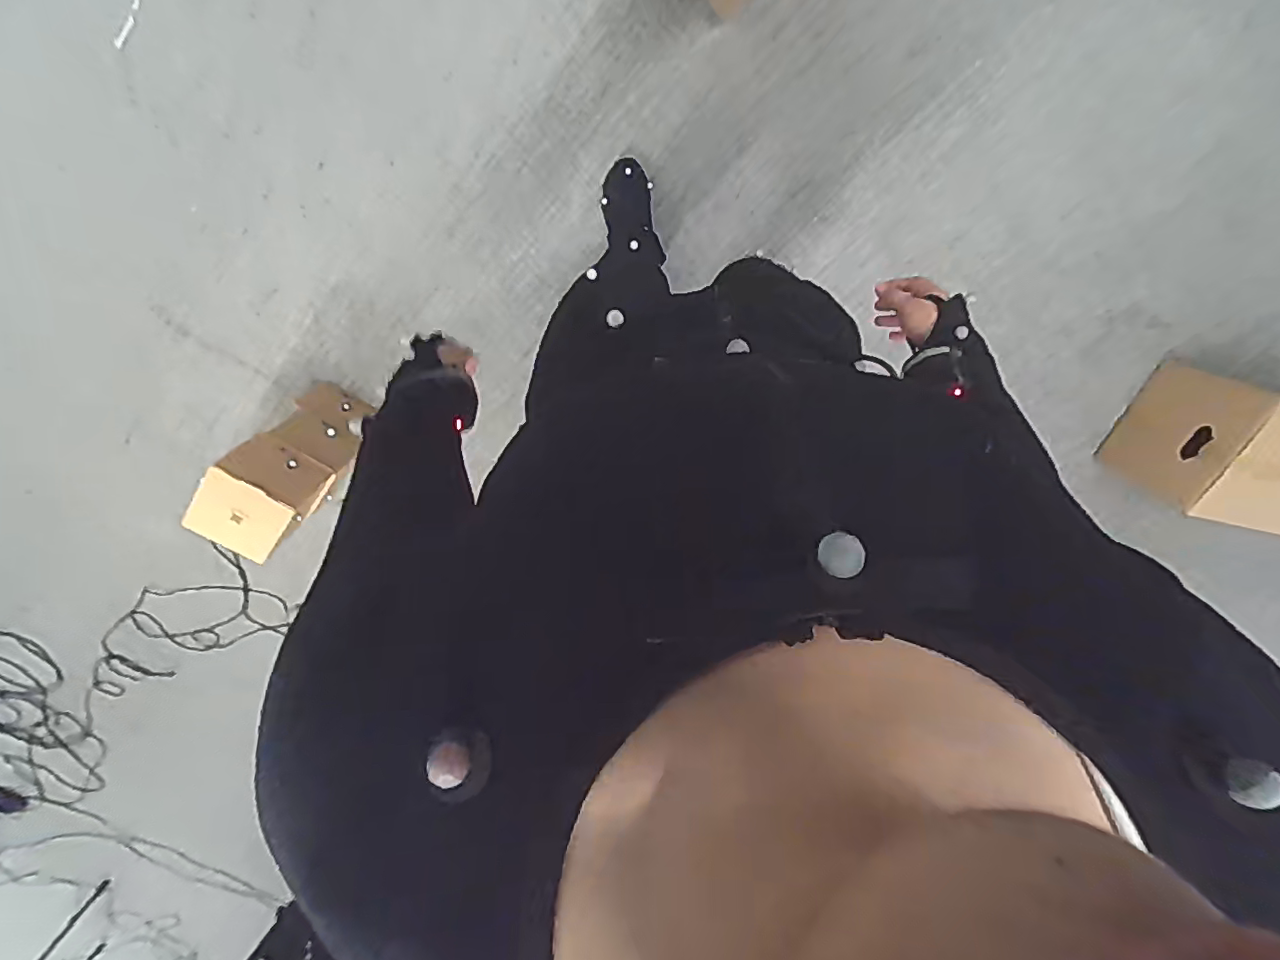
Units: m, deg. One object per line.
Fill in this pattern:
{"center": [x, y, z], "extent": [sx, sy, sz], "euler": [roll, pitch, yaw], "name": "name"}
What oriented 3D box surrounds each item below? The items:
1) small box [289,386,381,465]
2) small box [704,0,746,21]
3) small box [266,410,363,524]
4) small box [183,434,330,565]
{"center": [-0.814, -0.121, 1.425], "extent": [0.168, 0.176, 0.179], "euler": [33, 114, -16], "name": "small box"}
{"center": [0.164, -0.984, 0.968], "extent": [0.179, 0.176, 0.168], "euler": [41, 111, -20], "name": "small box"}
{"center": [-0.796, -0.034, 1.286], "extent": [0.168, 0.176, 0.179], "euler": [36, 112, -19], "name": "small box"}
{"center": [-0.796, 0.037, 1.140], "extent": [0.168, 0.176, 0.179], "euler": [35, 112, -18], "name": "small box"}
